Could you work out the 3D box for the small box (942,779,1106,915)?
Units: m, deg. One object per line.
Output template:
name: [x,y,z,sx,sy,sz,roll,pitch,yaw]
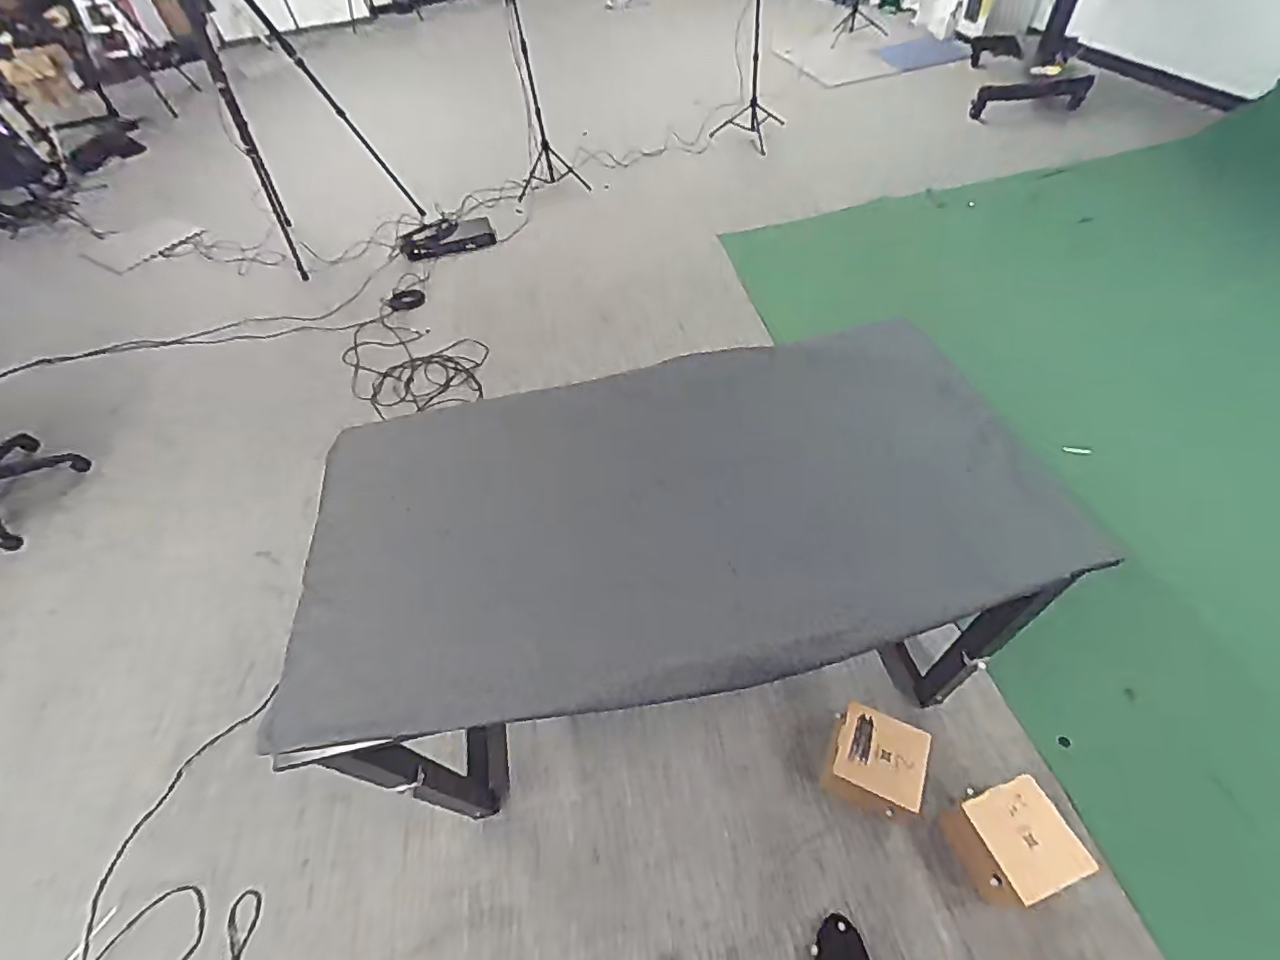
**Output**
small box: [0.755,0.736,1.087,0.168,0.176,0.179,-19,52,-8]
